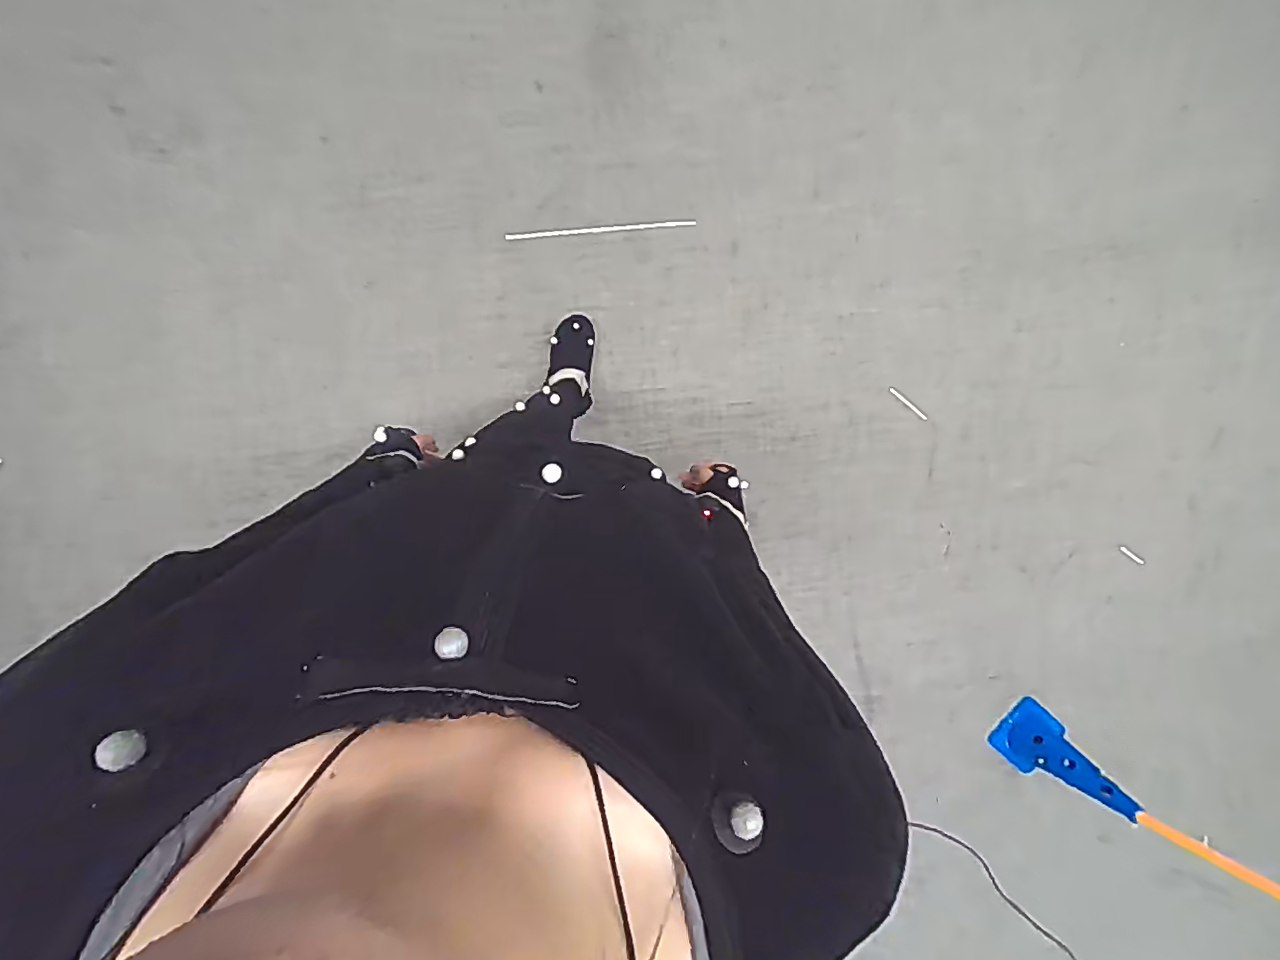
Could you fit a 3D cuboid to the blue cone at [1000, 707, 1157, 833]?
[{"bbox_3d":[1.245,0.836,1.525,0.192,0.380,0.193,39,91,-8],"label":"blue cone"}]
